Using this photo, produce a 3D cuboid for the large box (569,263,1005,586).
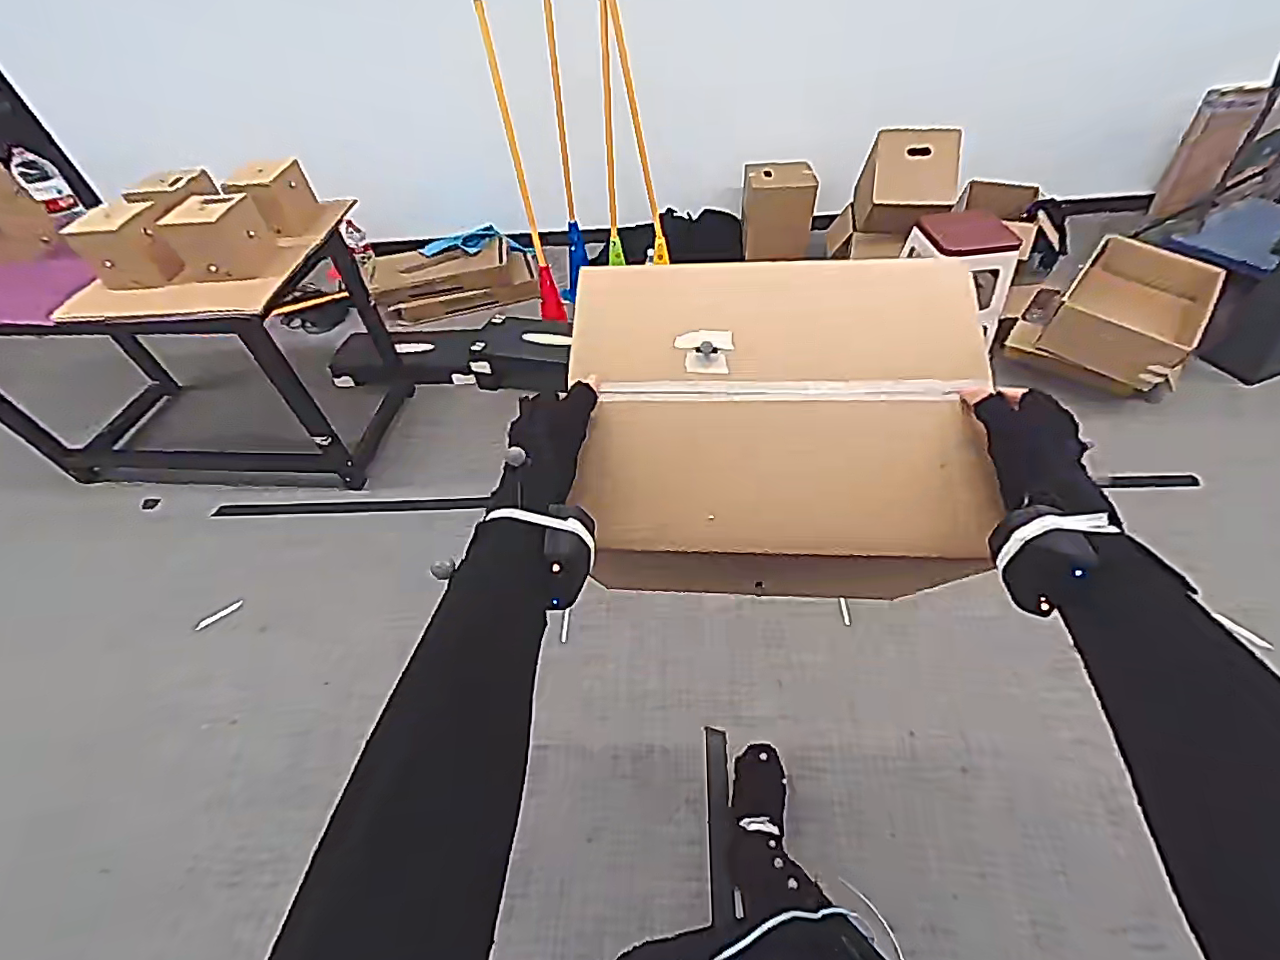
[{"bbox_3d":[0.149,-0.036,0.684,0.408,0.320,0.320,0,71,6],"label":"large box"}]
